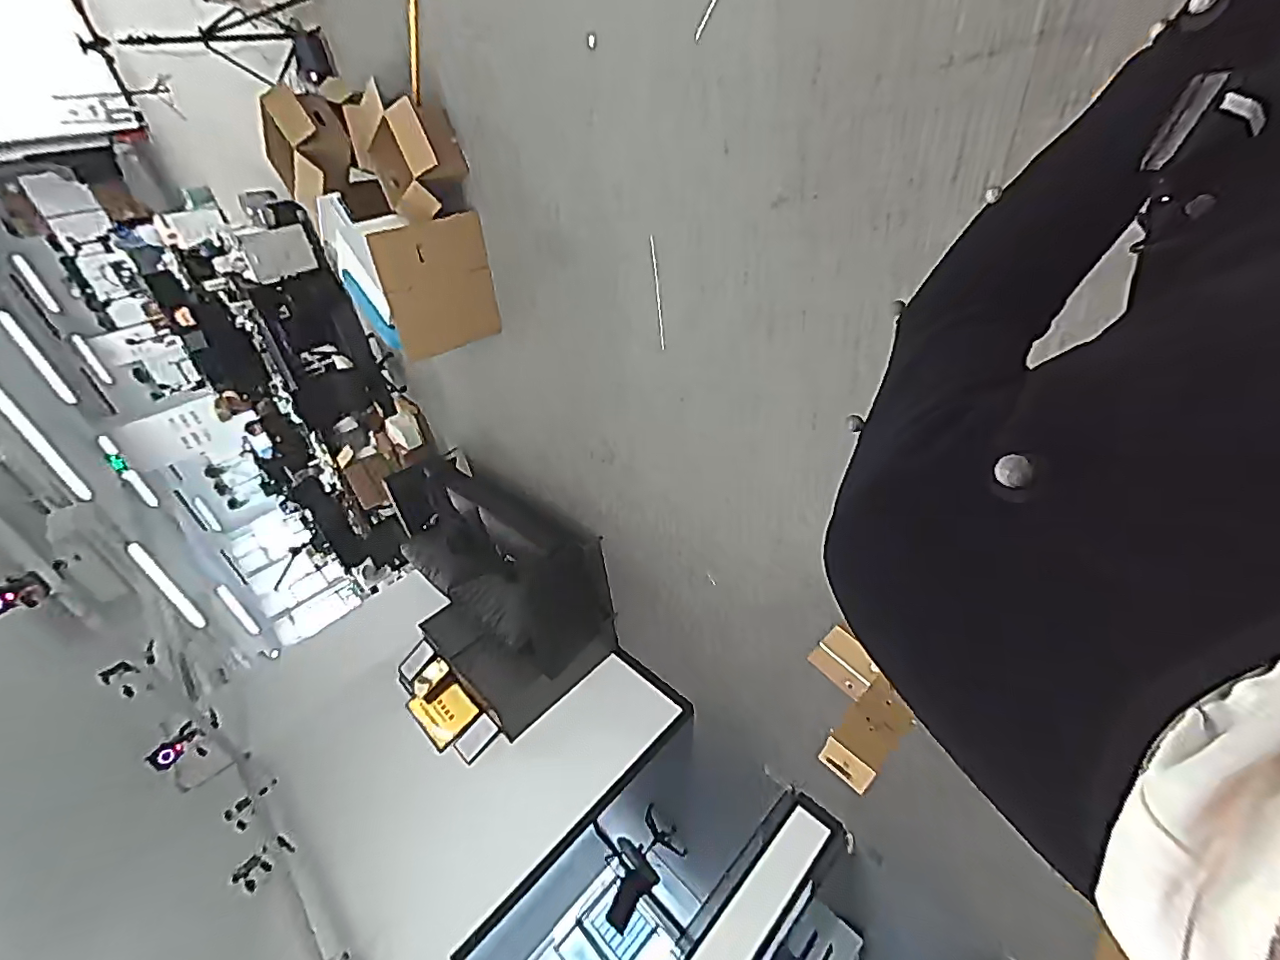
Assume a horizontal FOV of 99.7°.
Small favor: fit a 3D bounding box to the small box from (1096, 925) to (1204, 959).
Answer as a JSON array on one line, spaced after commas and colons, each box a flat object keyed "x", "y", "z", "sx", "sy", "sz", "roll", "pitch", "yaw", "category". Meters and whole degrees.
[{"x": 1.117, "y": 1.119, "z": 1.163, "sx": 0.179, "sy": 0.176, "sz": 0.168, "roll": -18, "pitch": 103, "yaw": 55, "category": "small box"}]

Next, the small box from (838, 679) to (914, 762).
[{"x": 0.834, "y": 0.843, "z": 1.904, "sx": 0.168, "sy": 0.176, "sz": 0.179, "roll": 35, "pitch": 140, "yaw": 31, "category": "small box"}]

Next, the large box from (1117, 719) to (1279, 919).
[{"x": 1.582, "y": 0.883, "z": 1.414, "sx": 0.408, "sy": 0.320, "sz": 0.320, "roll": -17, "pitch": 105, "yaw": 55, "category": "large box"}]
